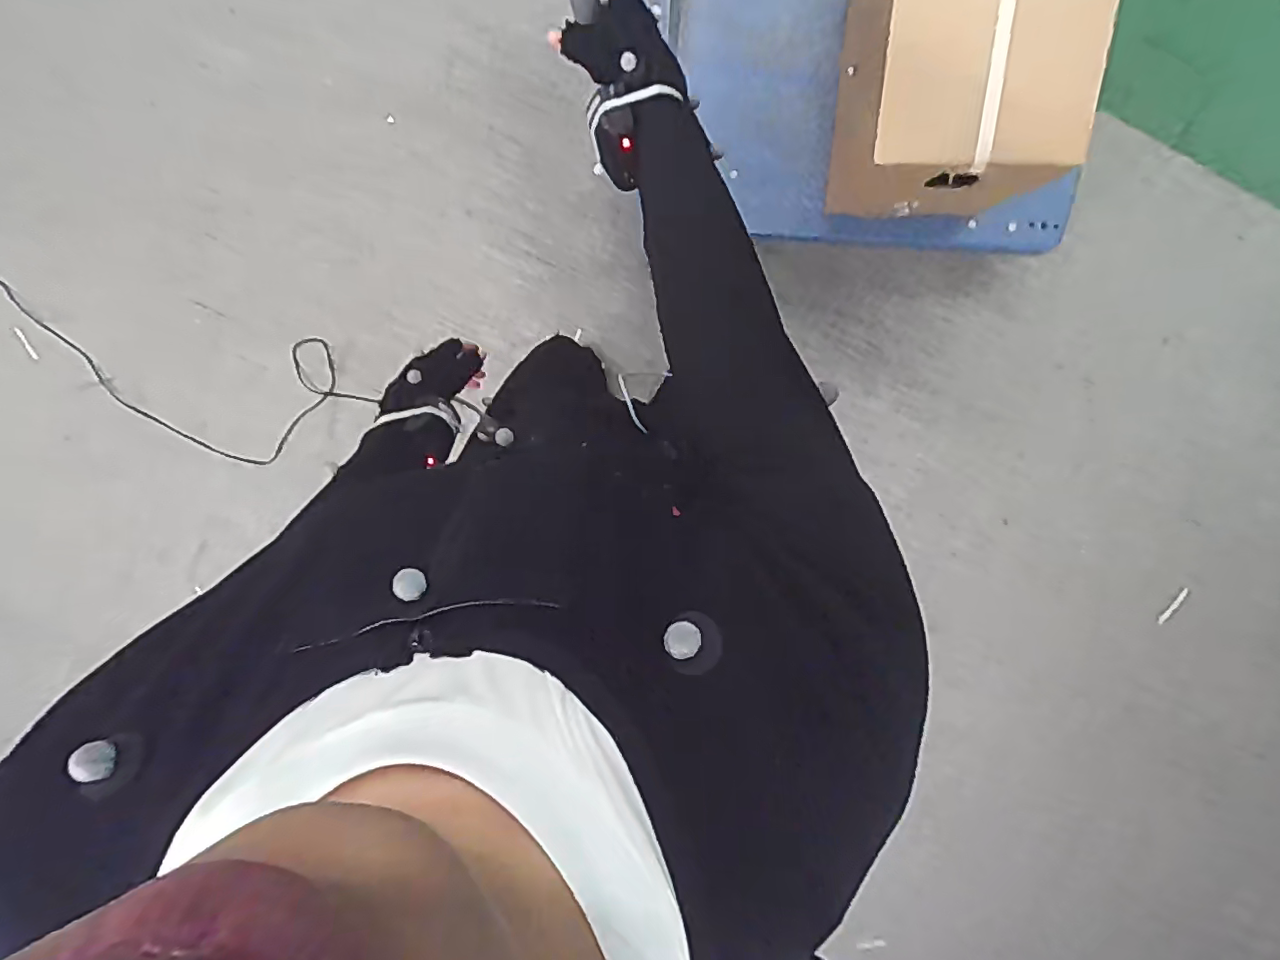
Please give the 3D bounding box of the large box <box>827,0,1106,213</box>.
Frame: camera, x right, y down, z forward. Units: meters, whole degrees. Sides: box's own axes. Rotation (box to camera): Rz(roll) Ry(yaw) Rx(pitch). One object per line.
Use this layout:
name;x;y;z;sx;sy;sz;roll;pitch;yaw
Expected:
large box;0.532;-0.715;0.936;0.320;0.320;0.408;4;103;3
